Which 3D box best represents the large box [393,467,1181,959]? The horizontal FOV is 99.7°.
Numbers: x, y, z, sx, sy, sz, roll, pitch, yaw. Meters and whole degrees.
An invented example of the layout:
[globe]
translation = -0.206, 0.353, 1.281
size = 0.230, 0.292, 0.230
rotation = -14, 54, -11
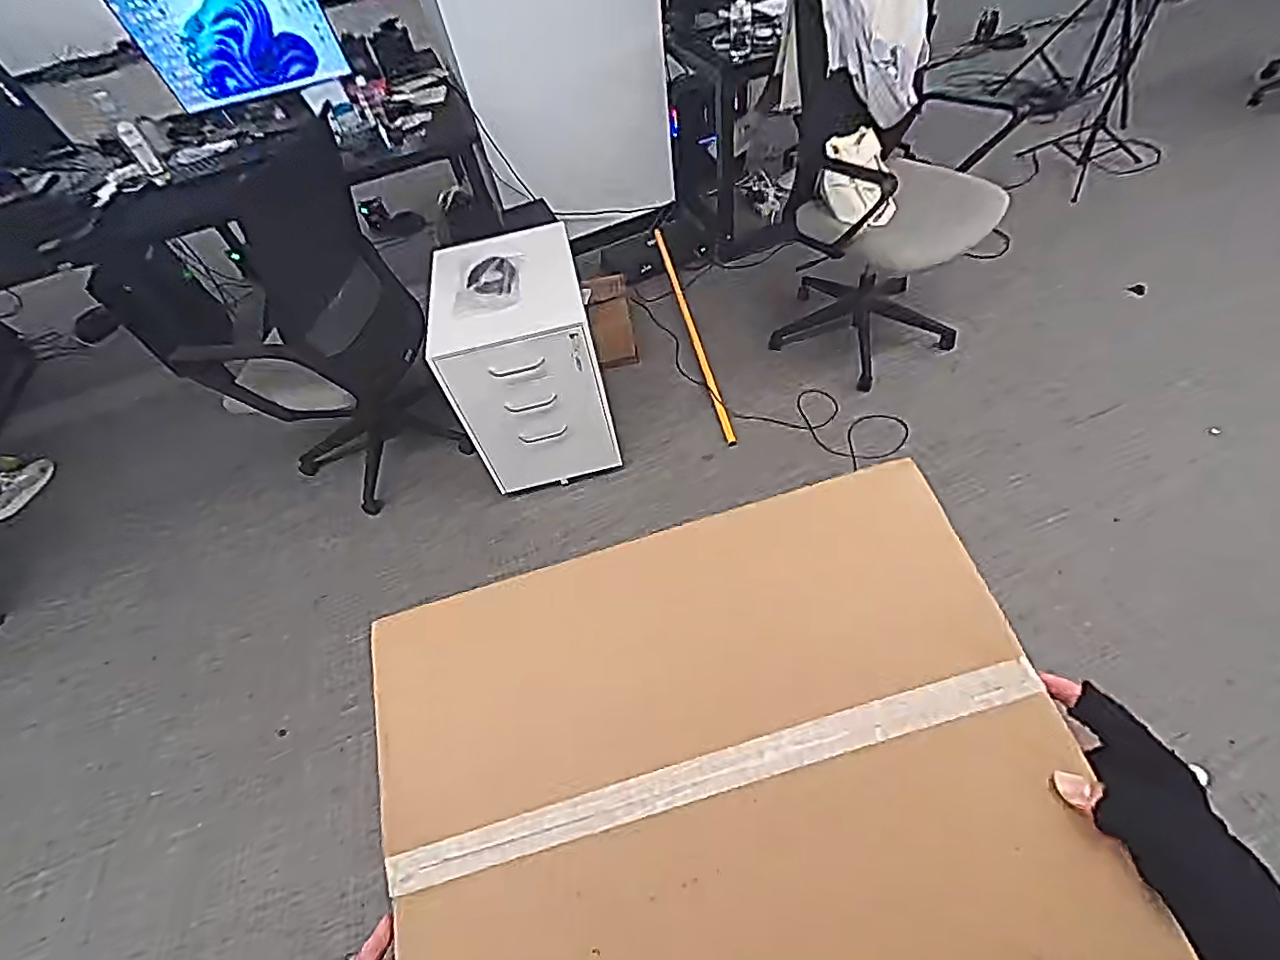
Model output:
[large box]
translation = 0.065, 0.243, 0.469
size = 0.408, 0.320, 0.320
rotation = -18, 66, 0
